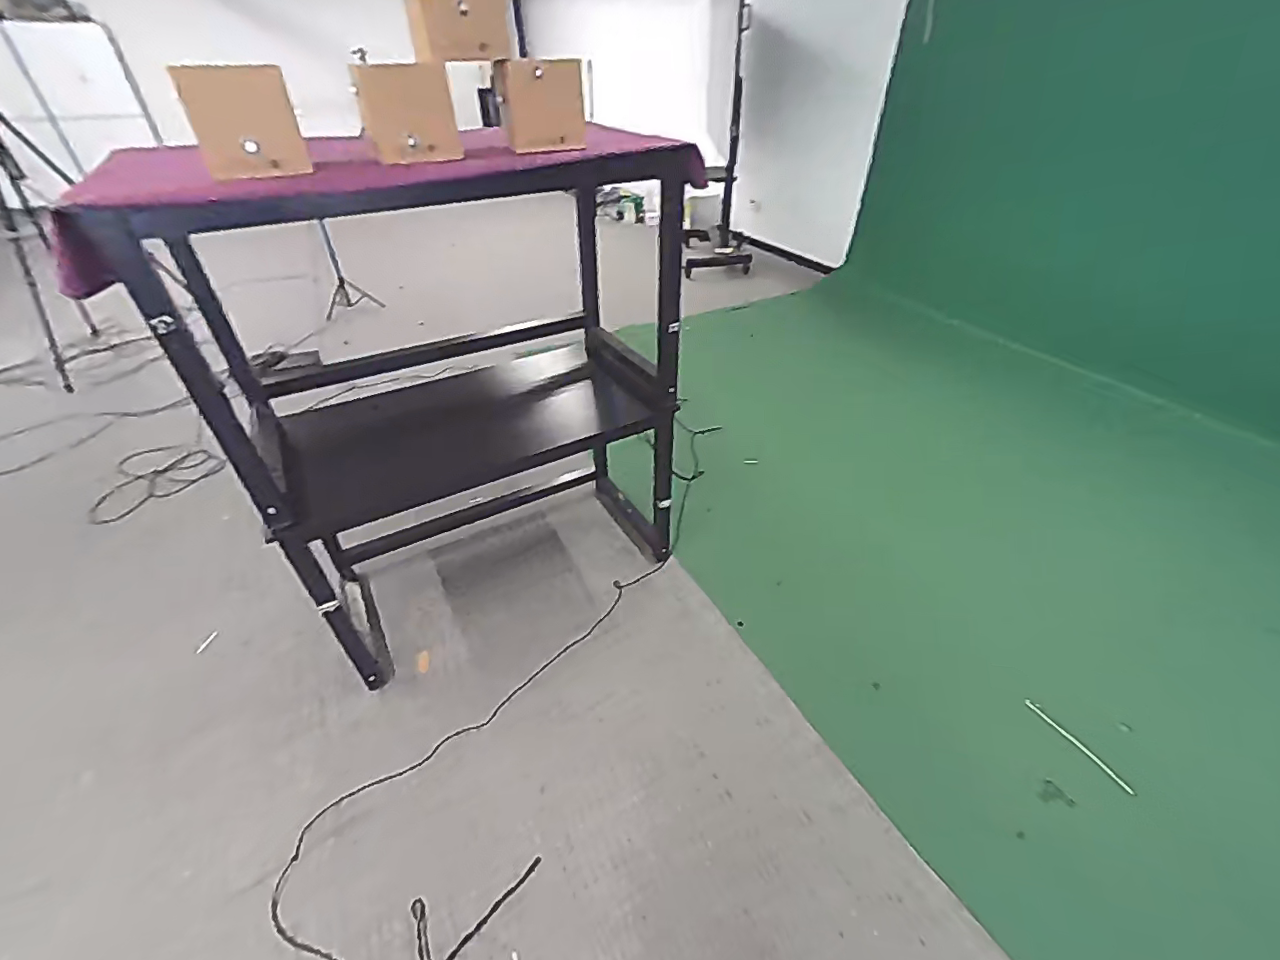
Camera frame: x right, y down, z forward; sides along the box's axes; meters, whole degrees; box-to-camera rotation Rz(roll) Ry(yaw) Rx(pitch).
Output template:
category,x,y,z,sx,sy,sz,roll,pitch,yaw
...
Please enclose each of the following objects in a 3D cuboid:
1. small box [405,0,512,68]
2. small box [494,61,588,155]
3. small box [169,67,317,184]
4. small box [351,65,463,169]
category,x,y,z,sx,sy,sz,roll,pitch,yaw
small box,-0.368,-0.935,1.083,0.168,0.176,0.179,-18,41,-21
small box,-0.226,-0.850,1.238,0.168,0.176,0.179,-15,39,-16
small box,-0.724,-0.657,1.001,0.168,0.176,0.179,-21,43,-24
small box,-0.483,-0.758,1.129,0.168,0.176,0.179,-19,42,-20
